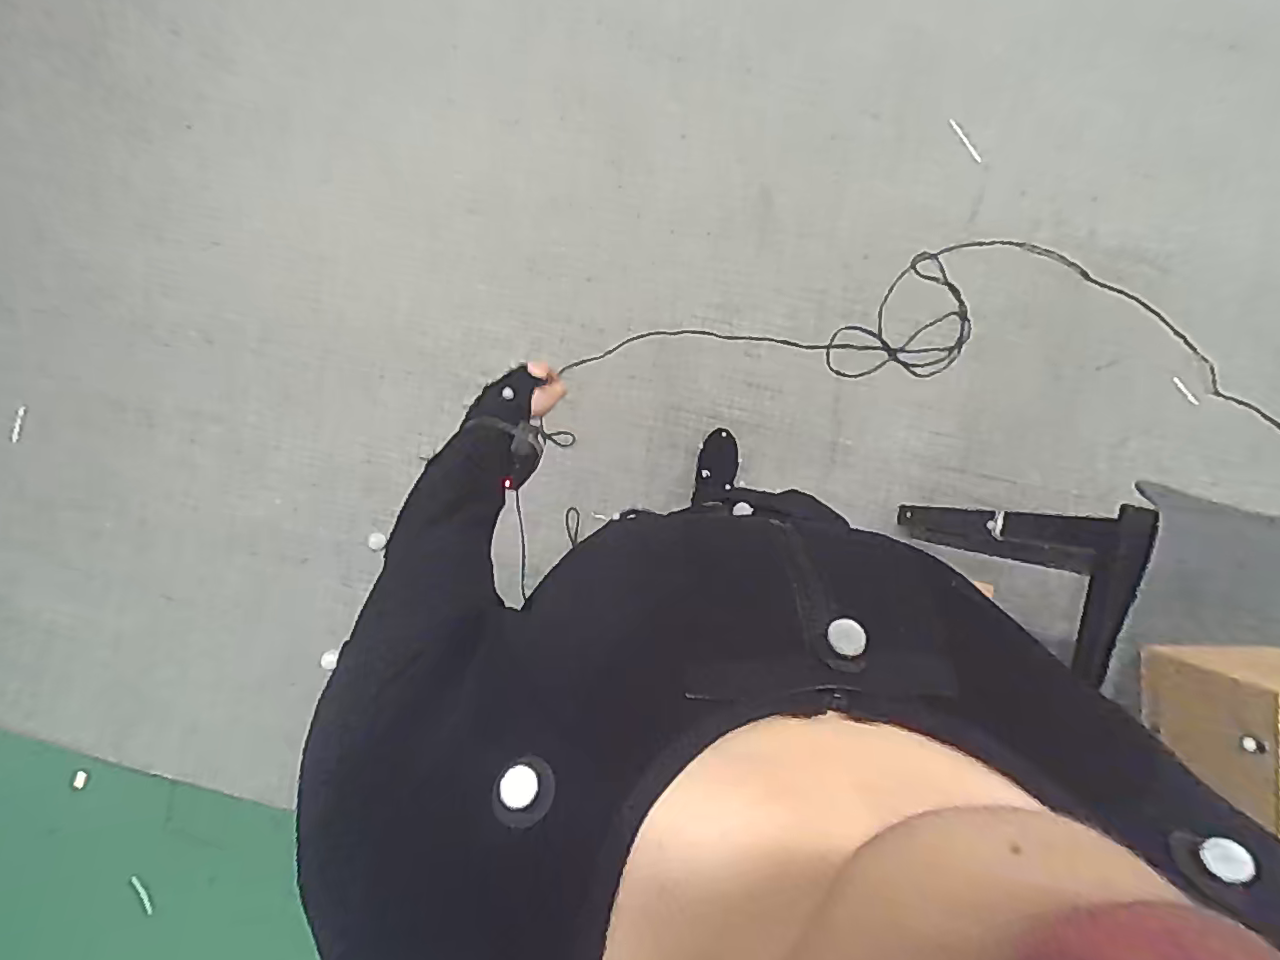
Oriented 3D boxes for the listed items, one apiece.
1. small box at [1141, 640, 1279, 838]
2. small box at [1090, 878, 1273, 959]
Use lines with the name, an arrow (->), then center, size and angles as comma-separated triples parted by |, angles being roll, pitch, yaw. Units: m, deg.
small box -> 0.751, 0.291, 0.633 | 0.179, 0.176, 0.168 | -1, 89, 3
small box -> 0.684, 0.632, 0.631 | 0.168, 0.176, 0.179 | 32, 89, 0
